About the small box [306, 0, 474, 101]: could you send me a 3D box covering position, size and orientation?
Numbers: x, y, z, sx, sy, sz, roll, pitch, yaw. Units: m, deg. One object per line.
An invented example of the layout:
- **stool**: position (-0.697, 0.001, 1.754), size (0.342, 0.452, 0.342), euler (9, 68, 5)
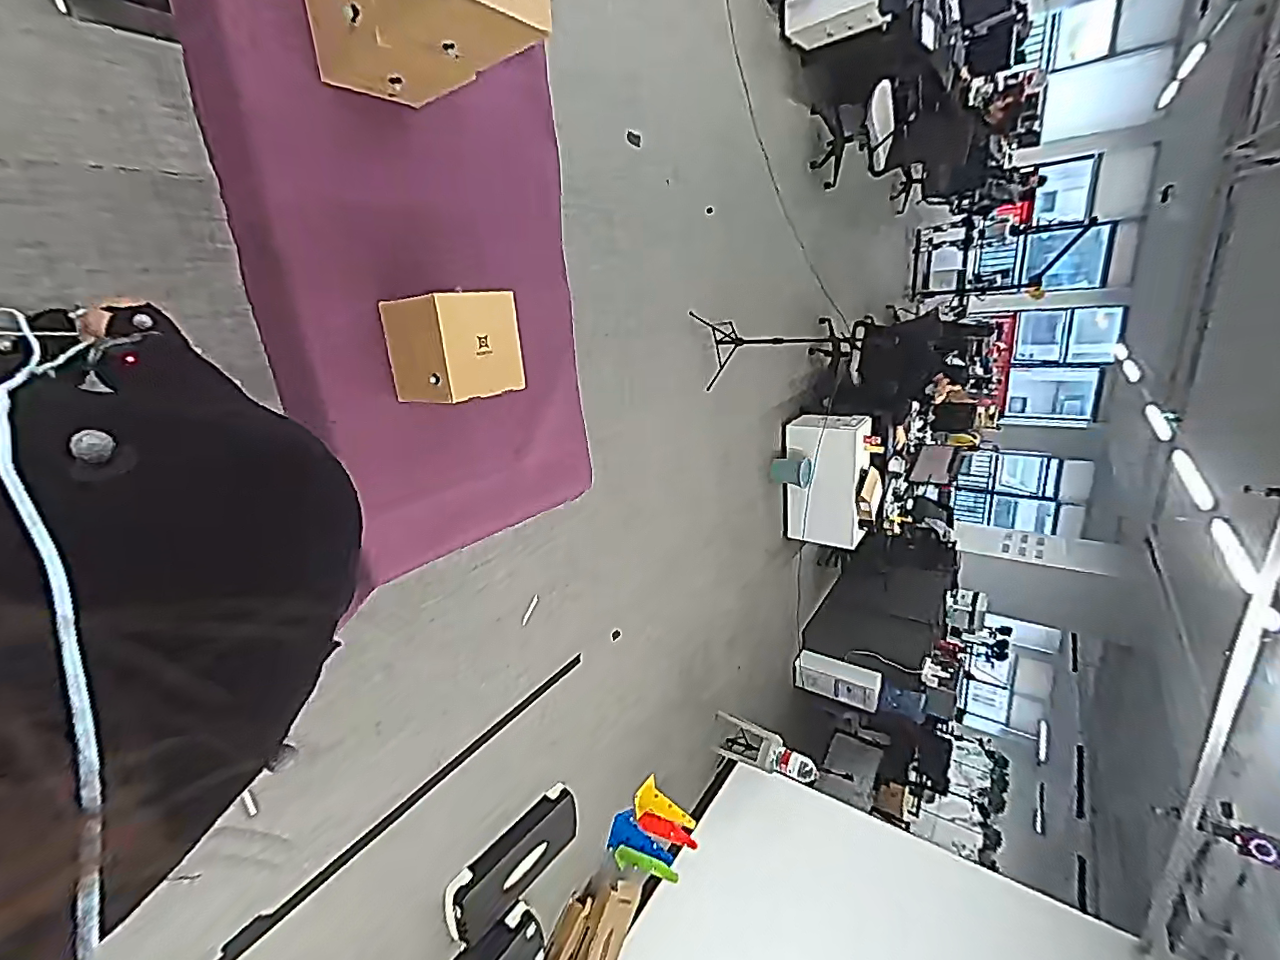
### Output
- **small box**: position (-0.378, -0.702, 0.809), size (0.168, 0.176, 0.179), euler (-26, 118, -50)

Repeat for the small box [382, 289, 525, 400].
- **small box**: position (-0.335, -0.244, 0.973), size (0.168, 0.176, 0.179), euler (-27, 119, -50)
